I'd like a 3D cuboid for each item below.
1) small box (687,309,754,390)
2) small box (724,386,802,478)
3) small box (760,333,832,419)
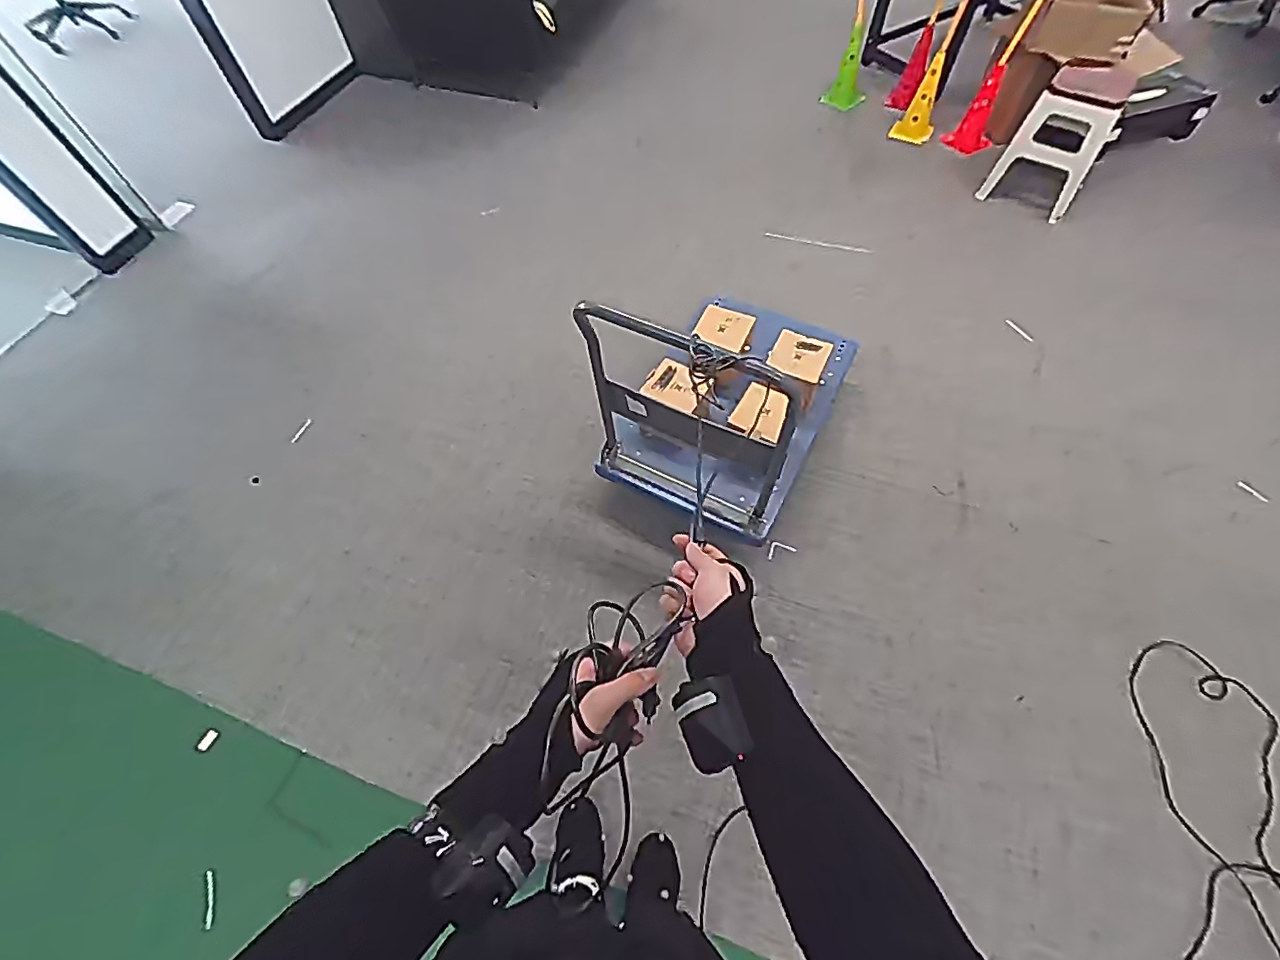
[{"bbox_3d":[0.262,-0.428,1.790,0.168,0.176,0.179,22,63,14],"label":"small box"},{"bbox_3d":[0.360,-0.140,1.615,0.168,0.176,0.179,26,65,17],"label":"small box"},{"bbox_3d":[0.486,-0.328,1.717,0.168,0.176,0.179,22,64,17],"label":"small box"}]
